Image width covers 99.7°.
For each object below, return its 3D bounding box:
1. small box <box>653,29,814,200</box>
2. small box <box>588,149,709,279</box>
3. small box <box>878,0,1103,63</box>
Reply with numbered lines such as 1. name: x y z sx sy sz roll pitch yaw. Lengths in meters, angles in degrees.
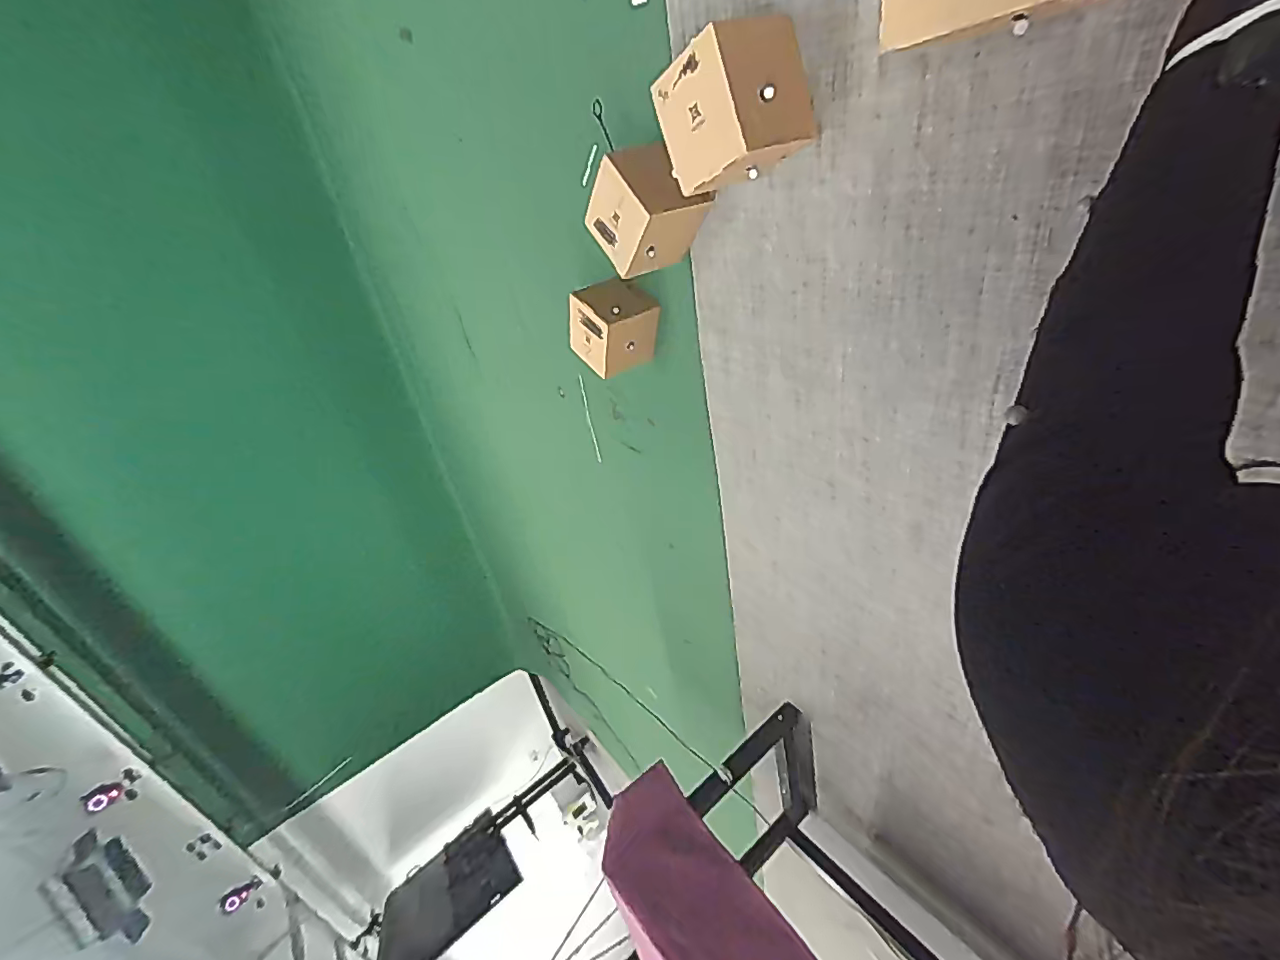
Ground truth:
1. small box: 0.156 -0.593 0.884 0.168 0.176 0.179 5 120 58
2. small box: 0.017 -0.563 1.147 0.168 0.176 0.179 57 151 9
3. small box: 0.372 -0.554 0.552 0.179 0.176 0.168 26 135 48
